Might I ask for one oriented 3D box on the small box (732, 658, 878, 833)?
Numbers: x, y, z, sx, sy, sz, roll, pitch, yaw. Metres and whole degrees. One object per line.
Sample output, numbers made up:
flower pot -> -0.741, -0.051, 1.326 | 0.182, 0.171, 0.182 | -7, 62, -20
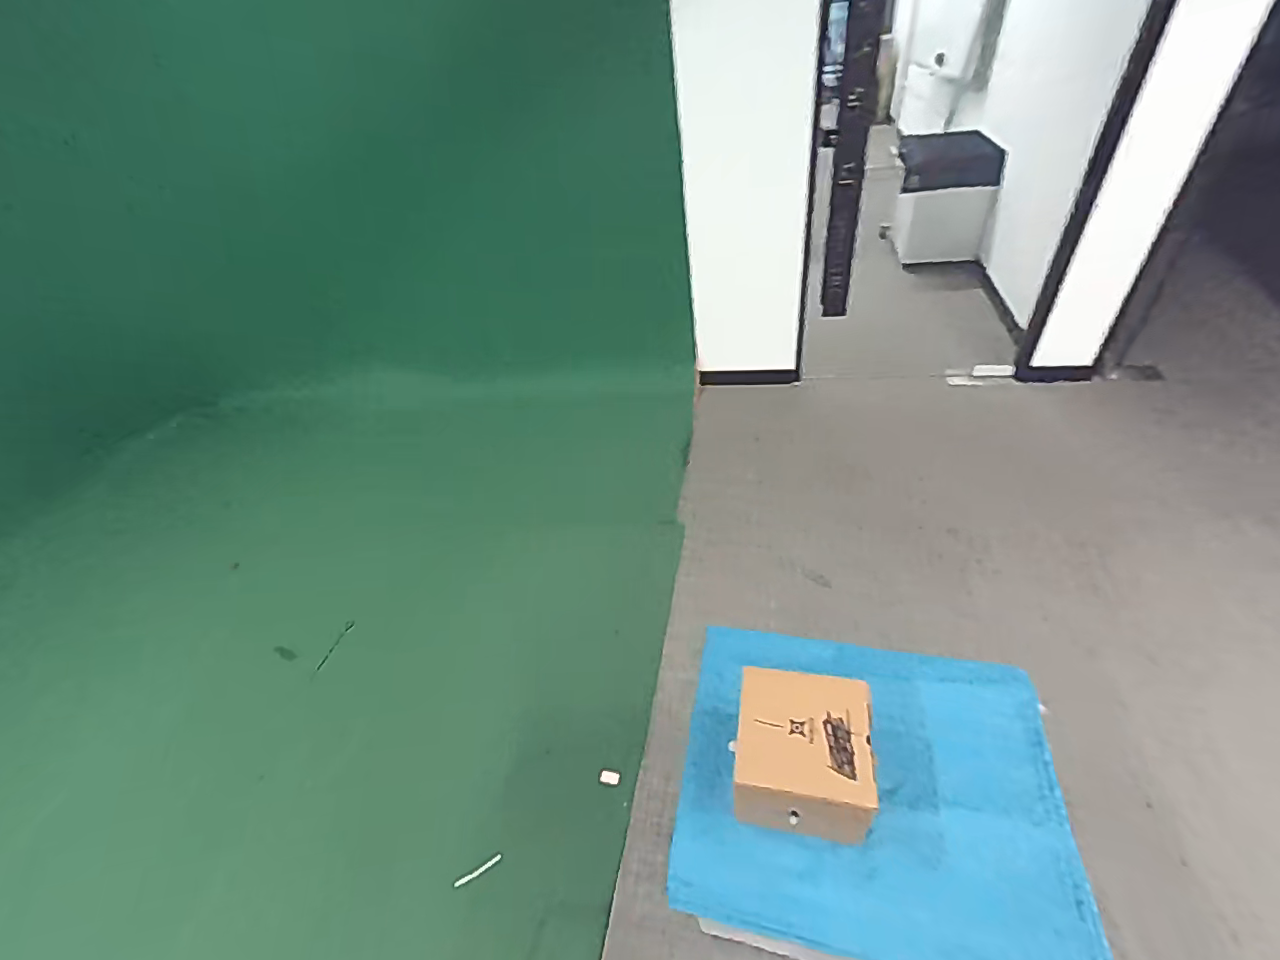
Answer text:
small box -> 0.230, 0.383, 0.778 | 0.179, 0.176, 0.168 | 3, 44, 15
